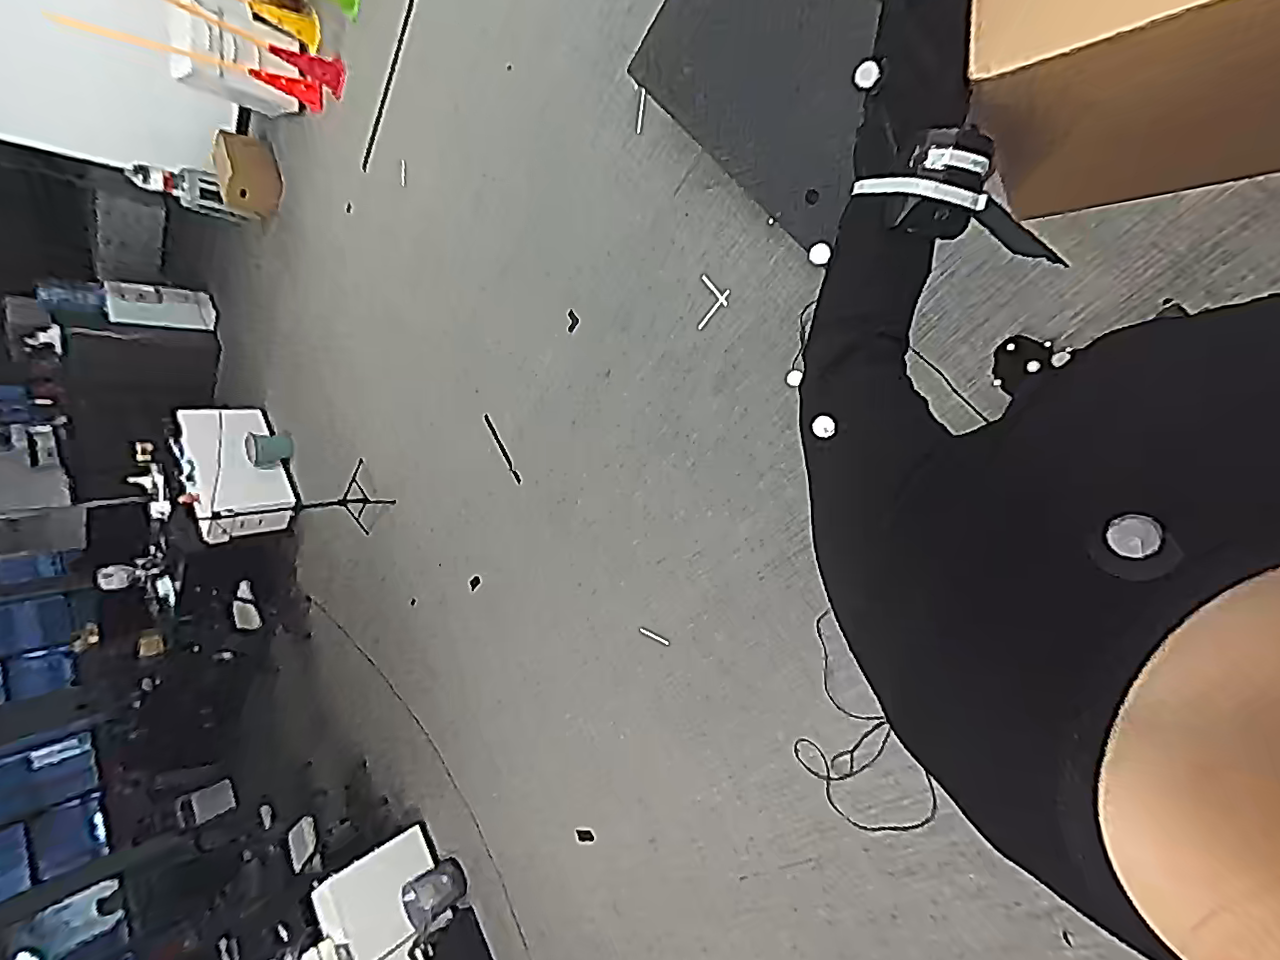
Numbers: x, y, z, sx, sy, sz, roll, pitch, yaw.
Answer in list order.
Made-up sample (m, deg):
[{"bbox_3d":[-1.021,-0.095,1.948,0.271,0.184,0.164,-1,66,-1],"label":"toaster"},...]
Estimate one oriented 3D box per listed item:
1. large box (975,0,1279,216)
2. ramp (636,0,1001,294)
[{"bbox_3d":[0.468,-0.421,0.343,0.408,0.320,0.320,4,96,39],"label":"large box"},{"bbox_3d":[0.431,-1.011,1.394,0.509,0.206,0.991,-49,65,33],"label":"ramp"}]
